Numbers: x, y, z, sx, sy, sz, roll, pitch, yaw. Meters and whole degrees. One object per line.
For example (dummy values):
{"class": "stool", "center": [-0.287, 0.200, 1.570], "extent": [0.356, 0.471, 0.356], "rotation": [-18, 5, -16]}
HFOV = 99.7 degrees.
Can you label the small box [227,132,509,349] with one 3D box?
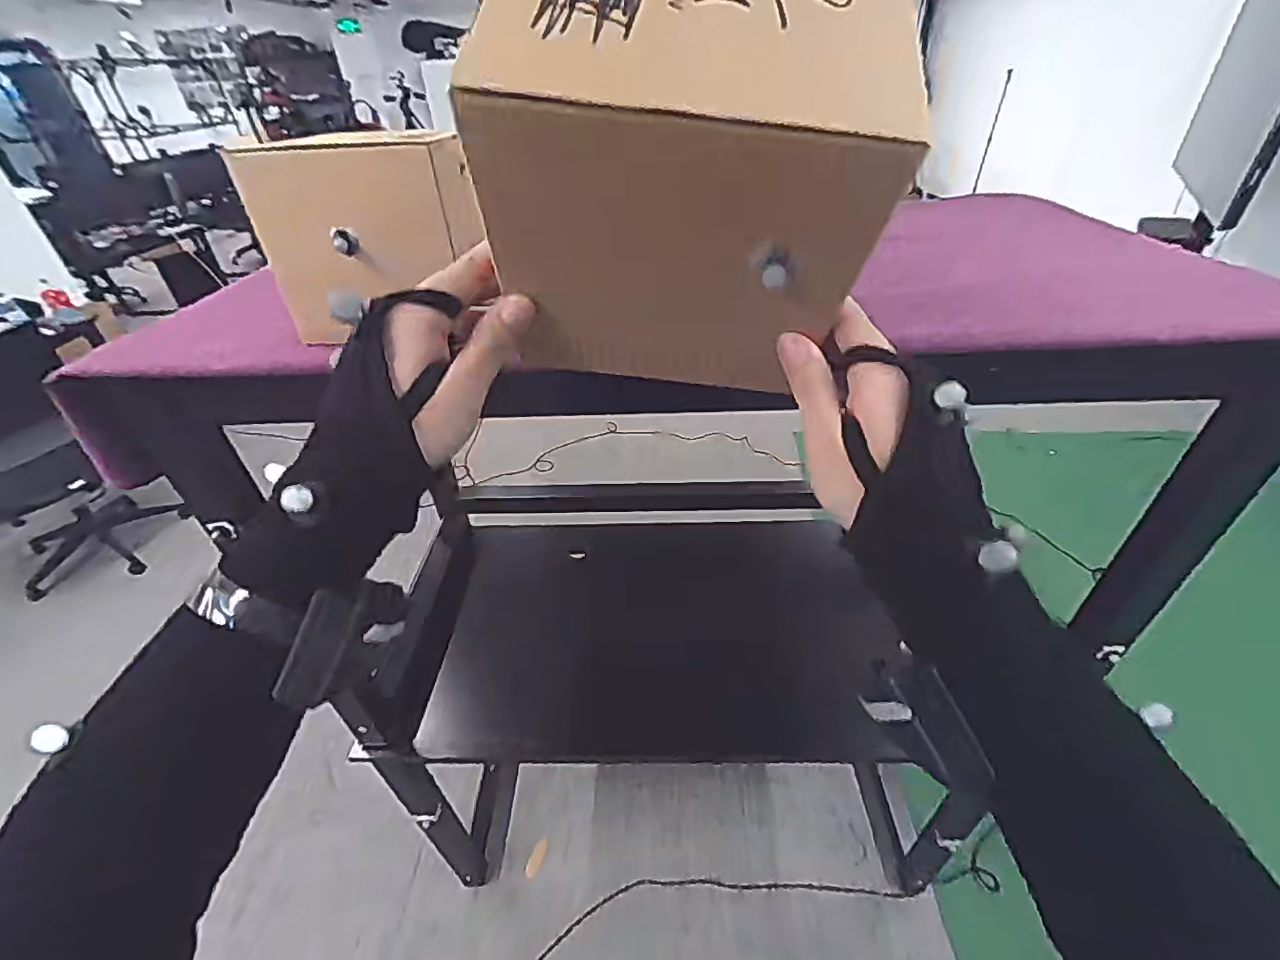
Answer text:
{"class": "small box", "center": [-0.244, -0.241, 0.546], "extent": [0.179, 0.176, 0.168], "rotation": [-1, 36, 4]}
